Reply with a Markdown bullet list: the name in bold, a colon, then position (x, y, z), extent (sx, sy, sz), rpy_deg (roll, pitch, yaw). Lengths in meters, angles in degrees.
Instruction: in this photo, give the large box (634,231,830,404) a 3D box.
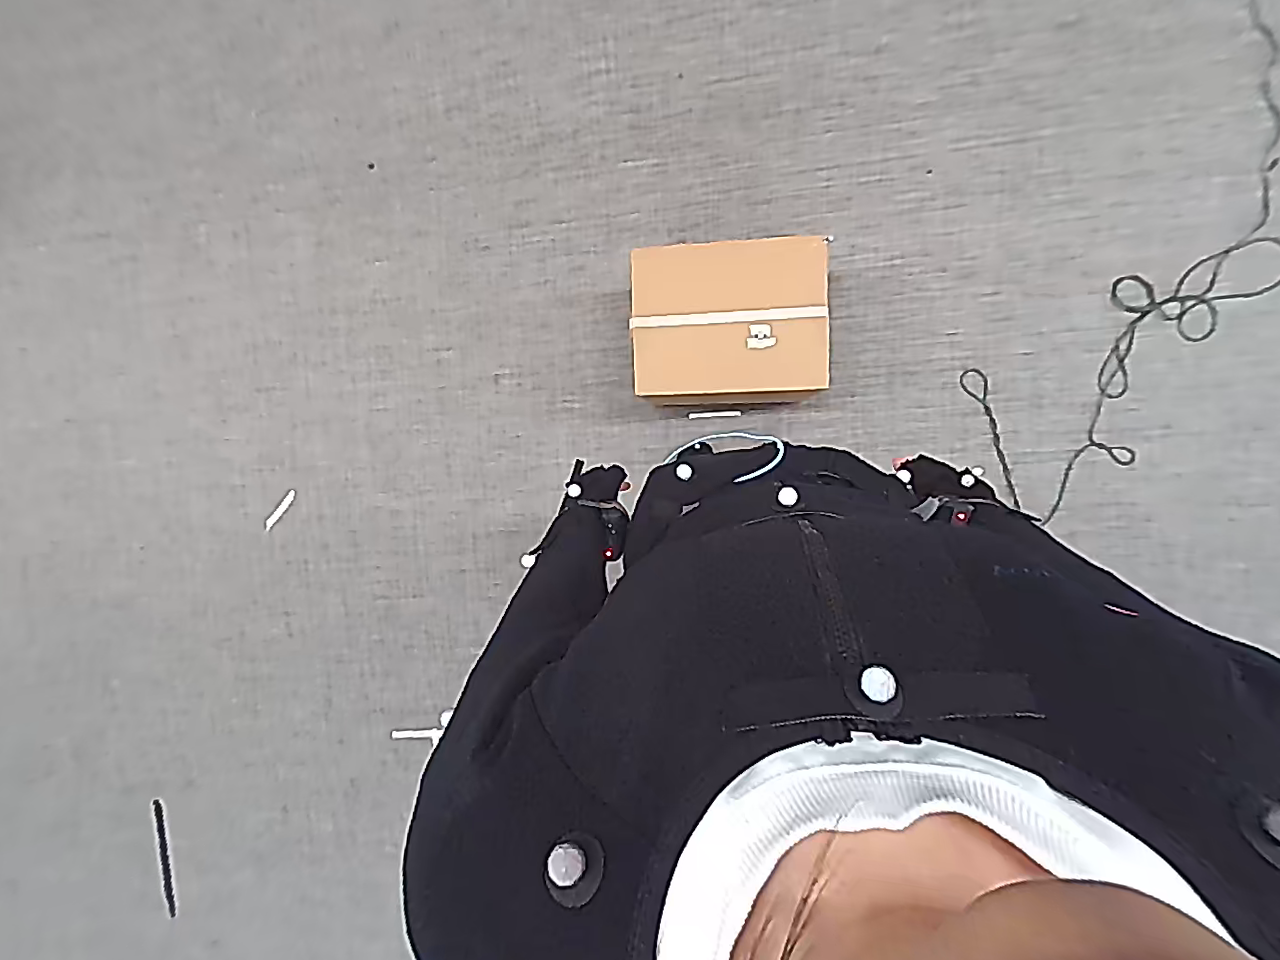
- **large box**: position (0.206, -0.355, 1.276), extent (0.408, 0.320, 0.320), rpy_deg (-1, 94, 7)
